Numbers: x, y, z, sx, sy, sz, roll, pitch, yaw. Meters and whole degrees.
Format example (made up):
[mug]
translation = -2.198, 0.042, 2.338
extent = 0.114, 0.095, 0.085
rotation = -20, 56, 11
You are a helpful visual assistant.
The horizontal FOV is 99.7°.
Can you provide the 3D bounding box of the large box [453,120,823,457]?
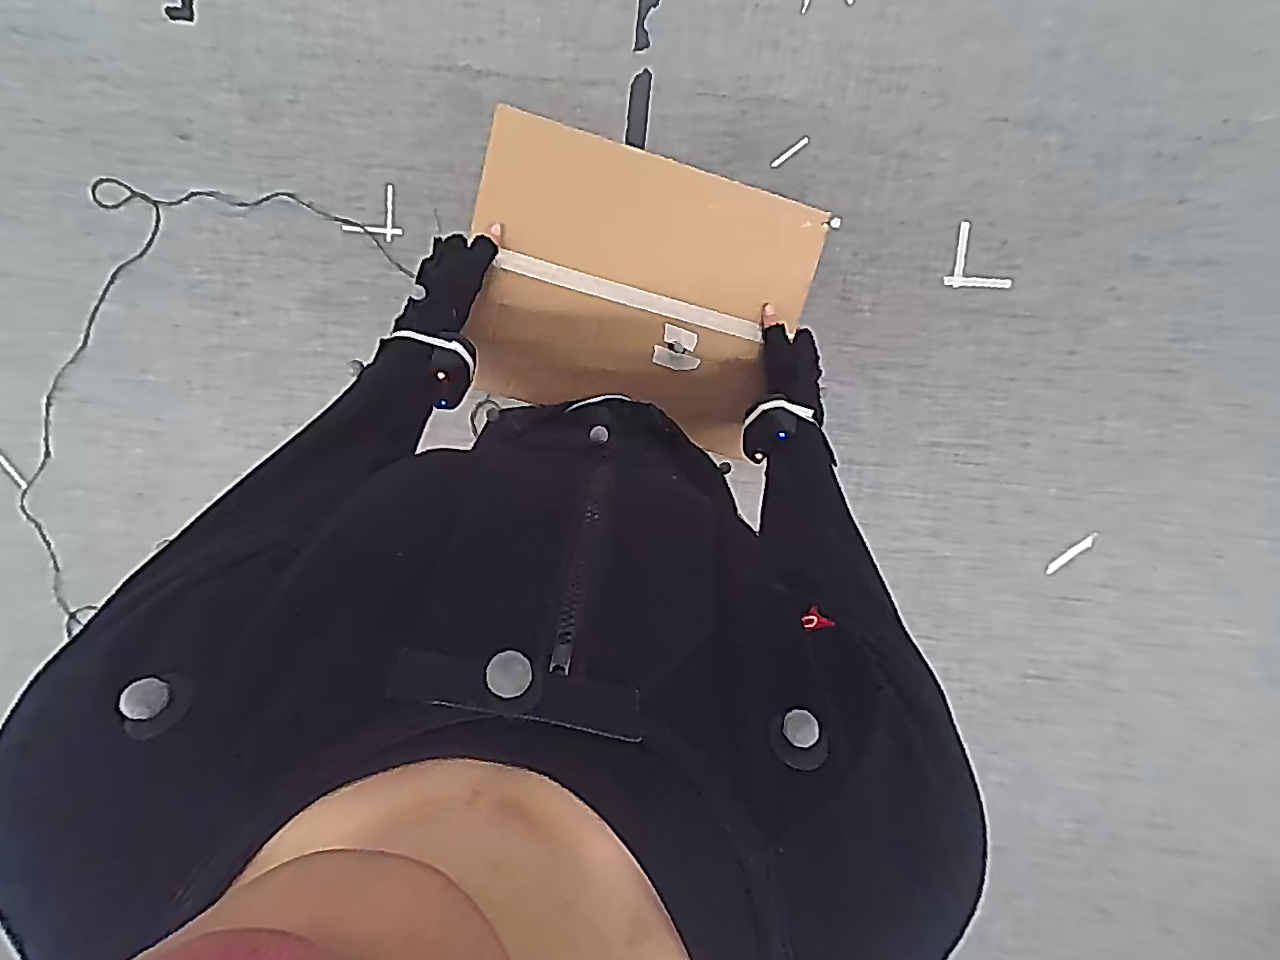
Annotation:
[large box]
translation = -0.017, -0.251, 0.806
extent = 0.408, 0.320, 0.320
rotation = 15, 102, -7
